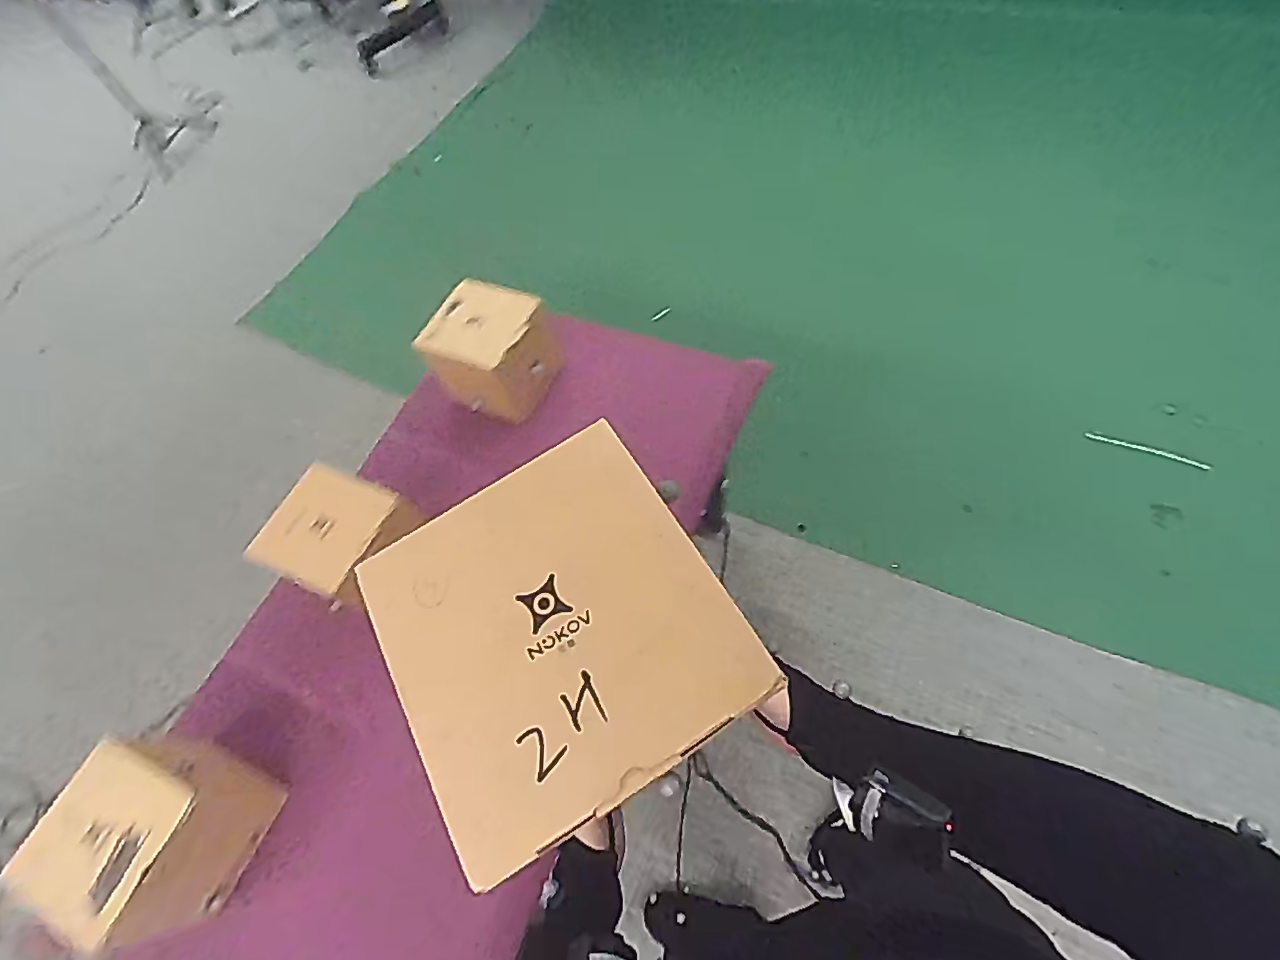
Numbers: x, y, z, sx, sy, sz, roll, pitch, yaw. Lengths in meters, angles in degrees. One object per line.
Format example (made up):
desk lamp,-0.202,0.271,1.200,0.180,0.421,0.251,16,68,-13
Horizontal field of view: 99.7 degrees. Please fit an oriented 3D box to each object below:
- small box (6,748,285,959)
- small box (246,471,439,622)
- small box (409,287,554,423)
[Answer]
small box,-0.624,0.471,0.710,0.179,0.176,0.168,16,66,17
small box,-0.463,0.115,0.874,0.179,0.176,0.168,18,66,17
small box,-0.286,-0.230,1.025,0.179,0.176,0.168,19,67,17
